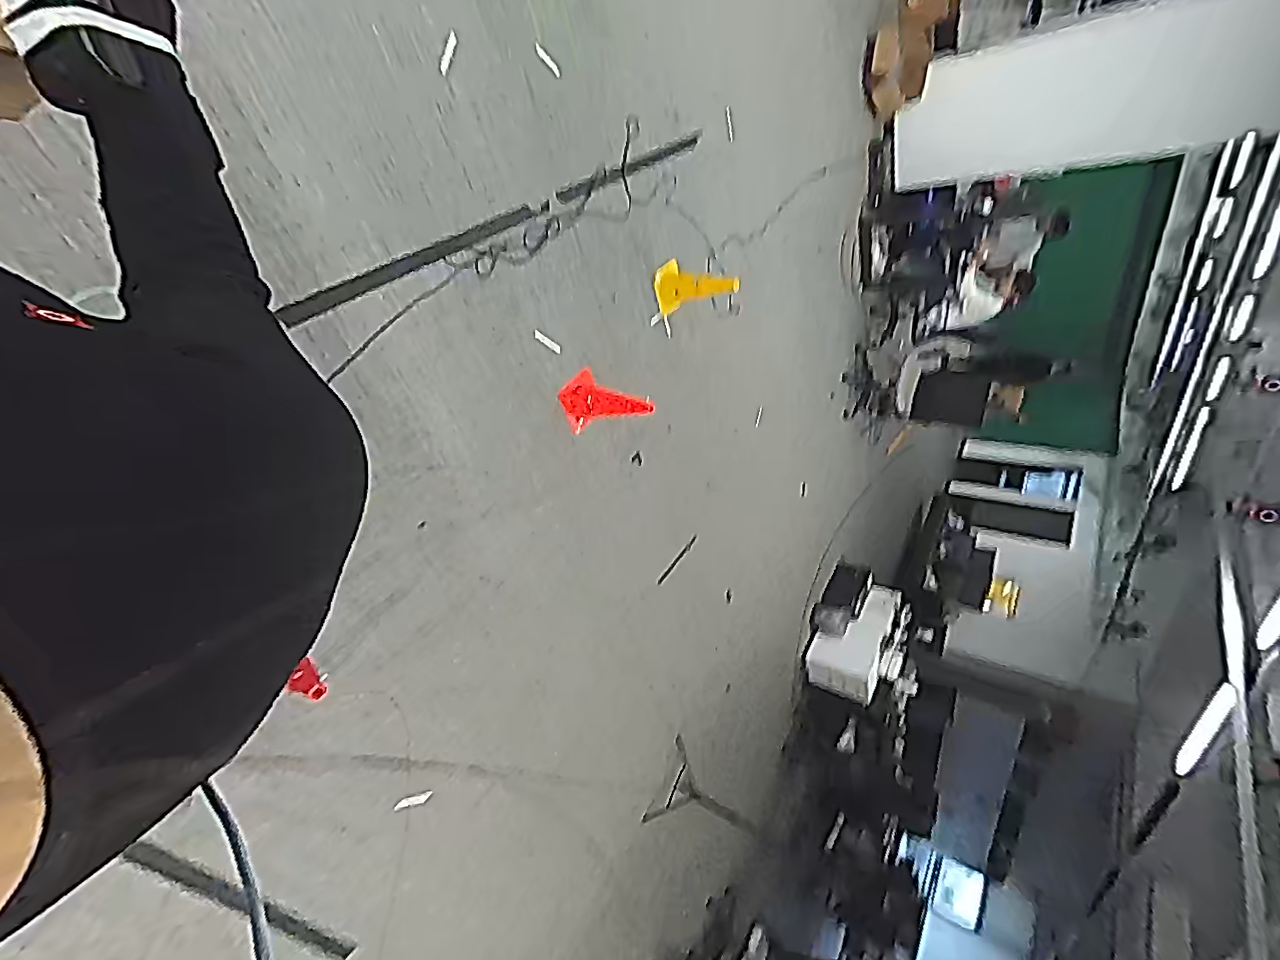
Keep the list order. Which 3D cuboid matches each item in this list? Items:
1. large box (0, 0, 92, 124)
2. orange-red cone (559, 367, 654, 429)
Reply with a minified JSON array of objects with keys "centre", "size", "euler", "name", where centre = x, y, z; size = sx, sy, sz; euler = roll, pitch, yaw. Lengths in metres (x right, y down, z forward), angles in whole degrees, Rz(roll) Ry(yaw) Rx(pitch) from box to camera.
[{"centre":[-0.615,-0.381,0.247],"size":[0.408,0.320,0.320],"euler":[-30,128,-46],"name":"large box"},{"centre":[-0.101,-0.301,2.060],"size":[0.199,0.360,0.198],"euler":[-51,137,-34],"name":"orange-red cone"}]
